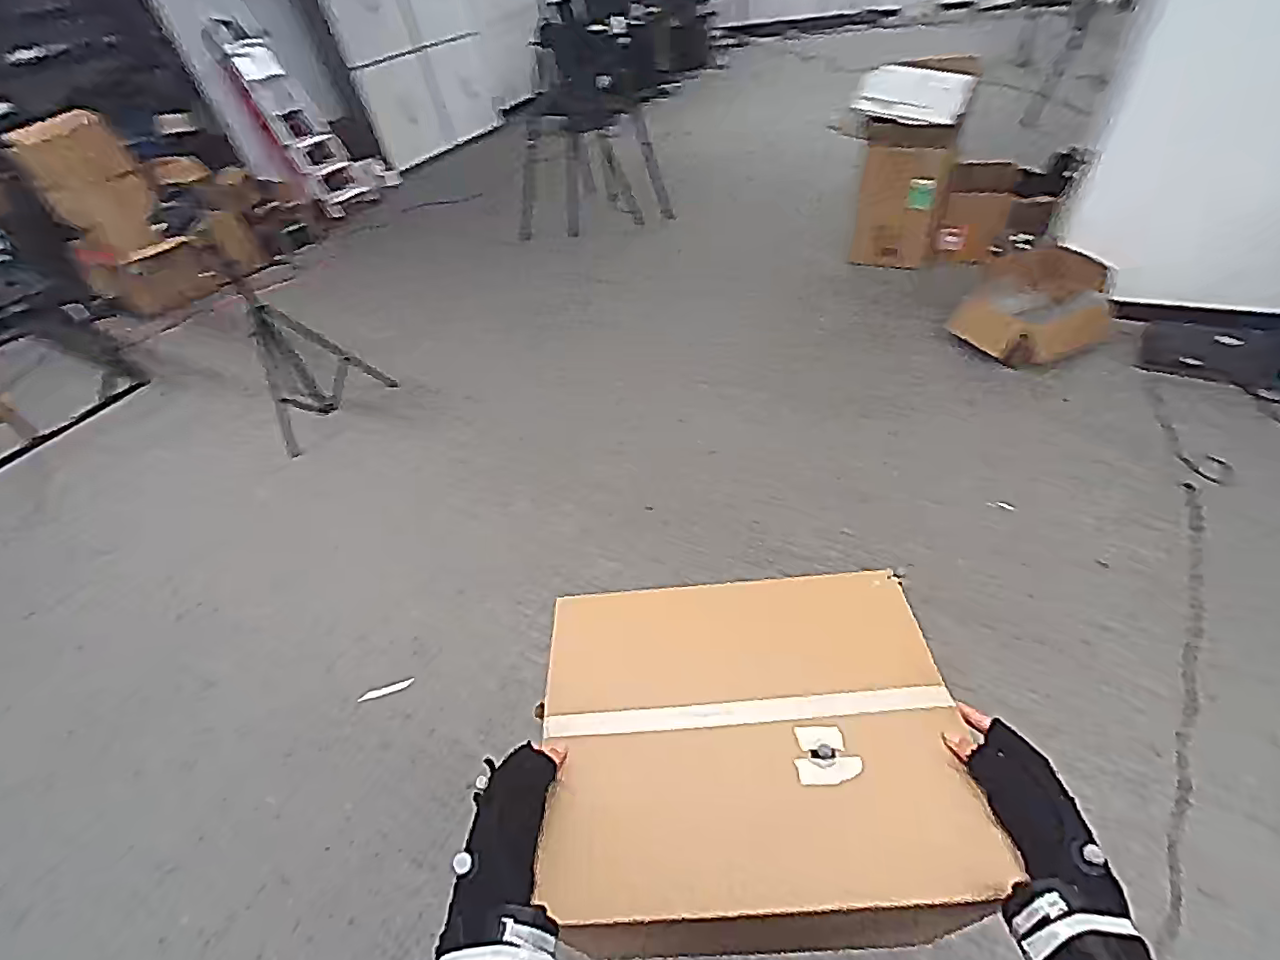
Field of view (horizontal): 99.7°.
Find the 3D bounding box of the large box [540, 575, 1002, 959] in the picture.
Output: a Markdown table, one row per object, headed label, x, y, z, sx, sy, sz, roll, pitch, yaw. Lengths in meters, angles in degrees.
| label | x | y | z | sx | sy | sz | roll | pitch | yaw |
| --- | --- | --- | --- | --- | --- | --- | --- | --- | --- |
| large box | 0.113 | 0.351 | 0.663 | 0.408 | 0.320 | 0.320 | -6 | 45 | 2 |
